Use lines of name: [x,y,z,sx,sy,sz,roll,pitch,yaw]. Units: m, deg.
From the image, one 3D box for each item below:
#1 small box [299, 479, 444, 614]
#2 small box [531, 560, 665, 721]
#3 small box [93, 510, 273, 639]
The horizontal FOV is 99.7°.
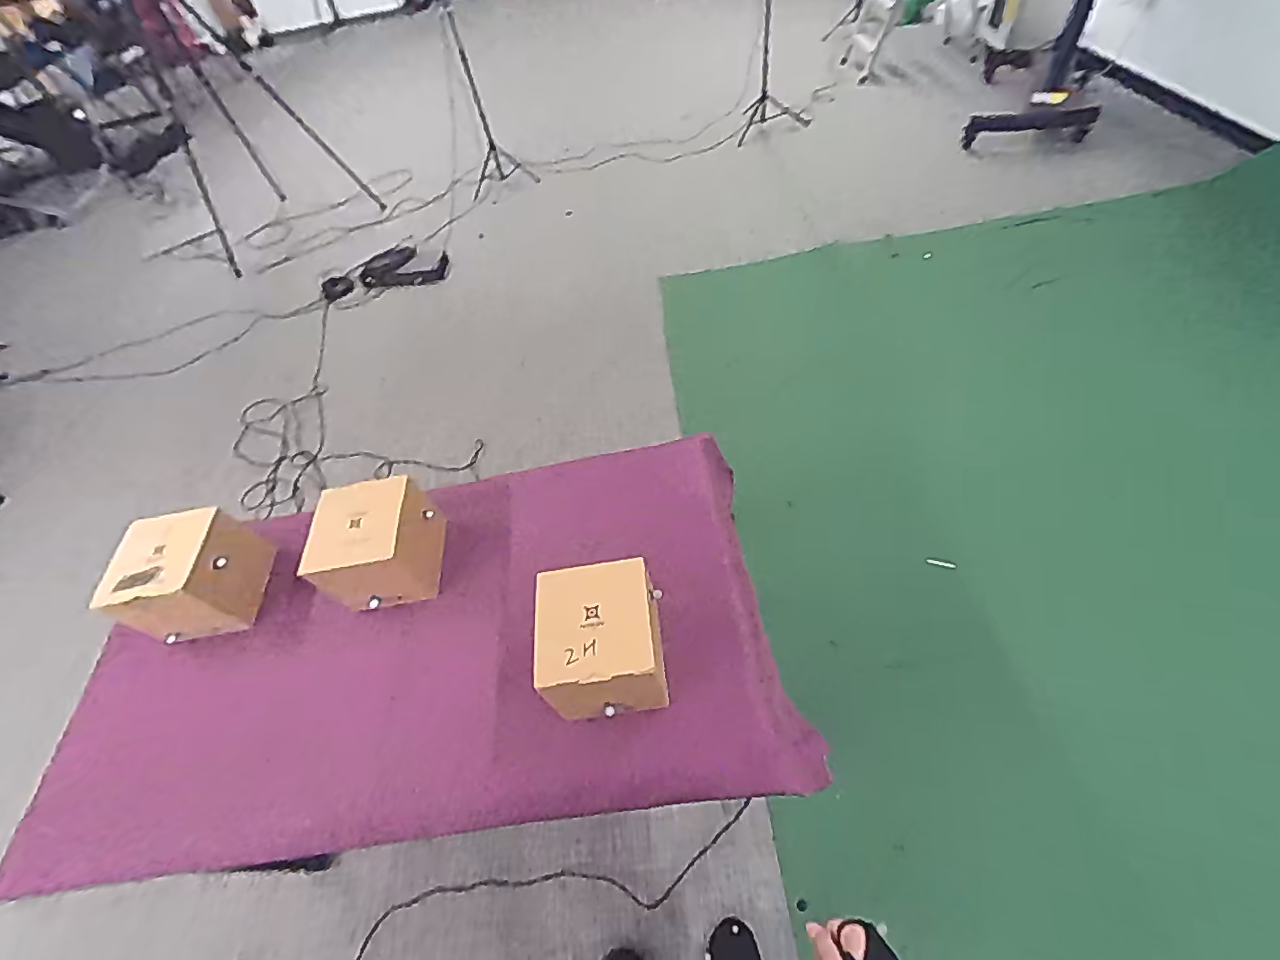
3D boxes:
small box: [-0.478,0.125,0.996,0.168,0.176,0.179,-10,53,3]
small box: [-0.059,0.248,0.825,0.168,0.176,0.179,-10,51,4]
small box: [-0.831,0.183,1.009,0.168,0.176,0.179,-10,52,1]
